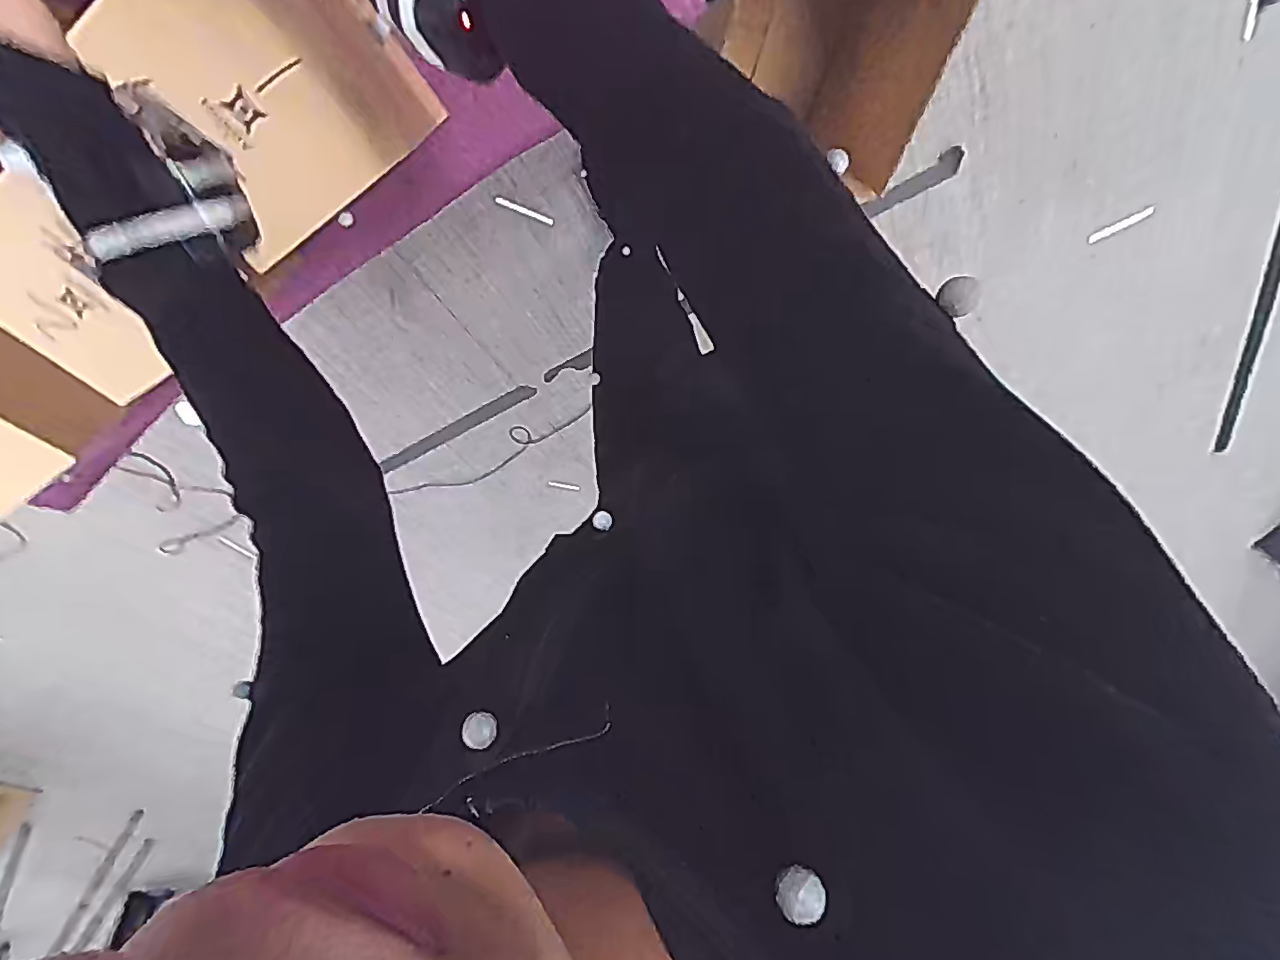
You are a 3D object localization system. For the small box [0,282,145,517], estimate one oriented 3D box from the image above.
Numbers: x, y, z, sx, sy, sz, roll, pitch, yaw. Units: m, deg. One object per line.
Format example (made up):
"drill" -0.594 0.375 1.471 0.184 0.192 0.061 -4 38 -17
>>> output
"small box" -0.728 -0.086 0.610 0.179 0.176 0.168 -26 132 16
